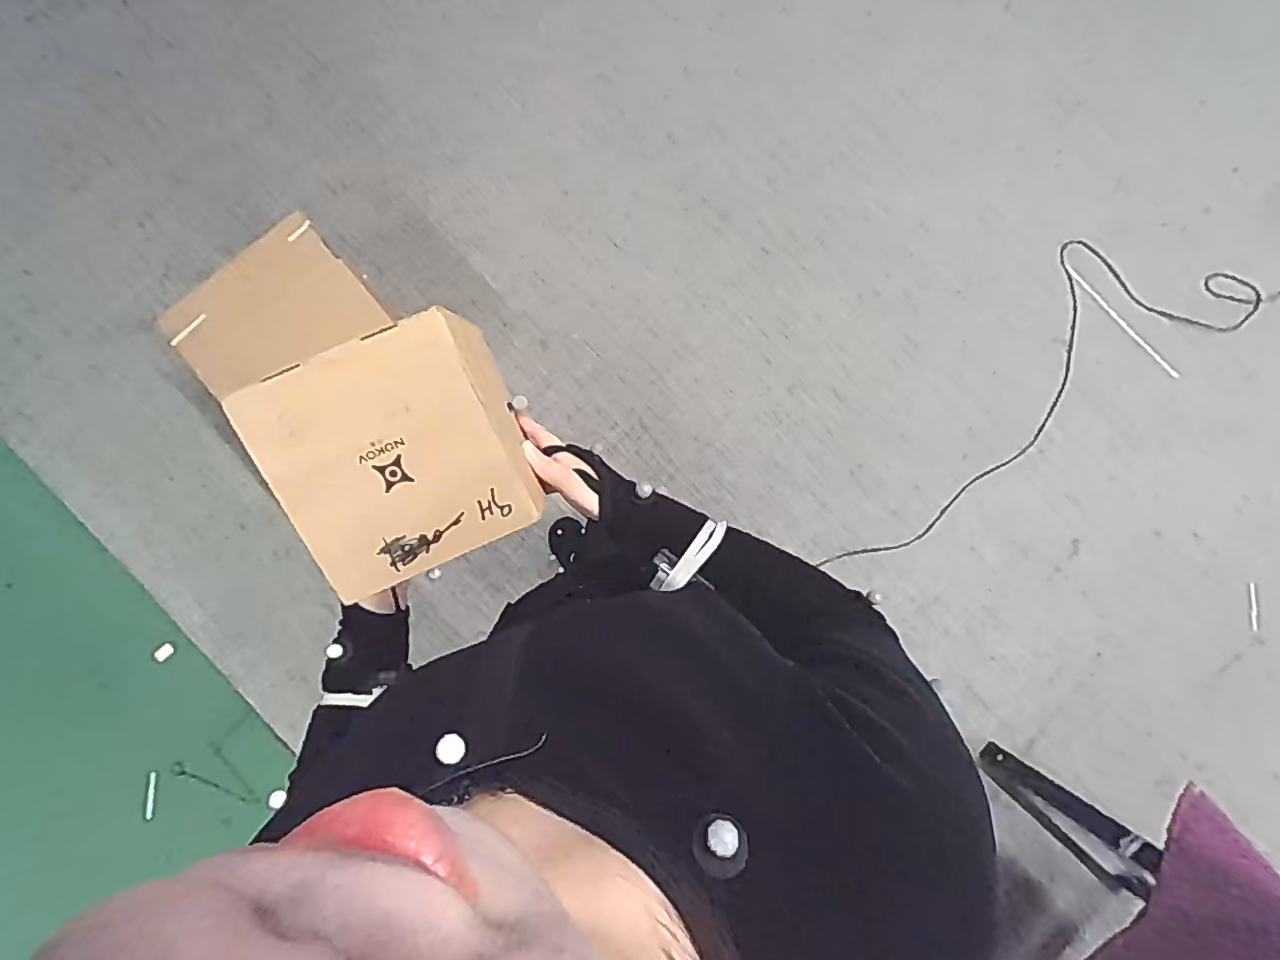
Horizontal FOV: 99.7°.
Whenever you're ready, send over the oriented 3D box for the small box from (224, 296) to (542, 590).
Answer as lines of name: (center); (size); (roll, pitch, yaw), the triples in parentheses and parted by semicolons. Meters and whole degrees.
small box: (-0.197, -0.037, 0.476); (0.168, 0.176, 0.179); (-23, 103, -3)
